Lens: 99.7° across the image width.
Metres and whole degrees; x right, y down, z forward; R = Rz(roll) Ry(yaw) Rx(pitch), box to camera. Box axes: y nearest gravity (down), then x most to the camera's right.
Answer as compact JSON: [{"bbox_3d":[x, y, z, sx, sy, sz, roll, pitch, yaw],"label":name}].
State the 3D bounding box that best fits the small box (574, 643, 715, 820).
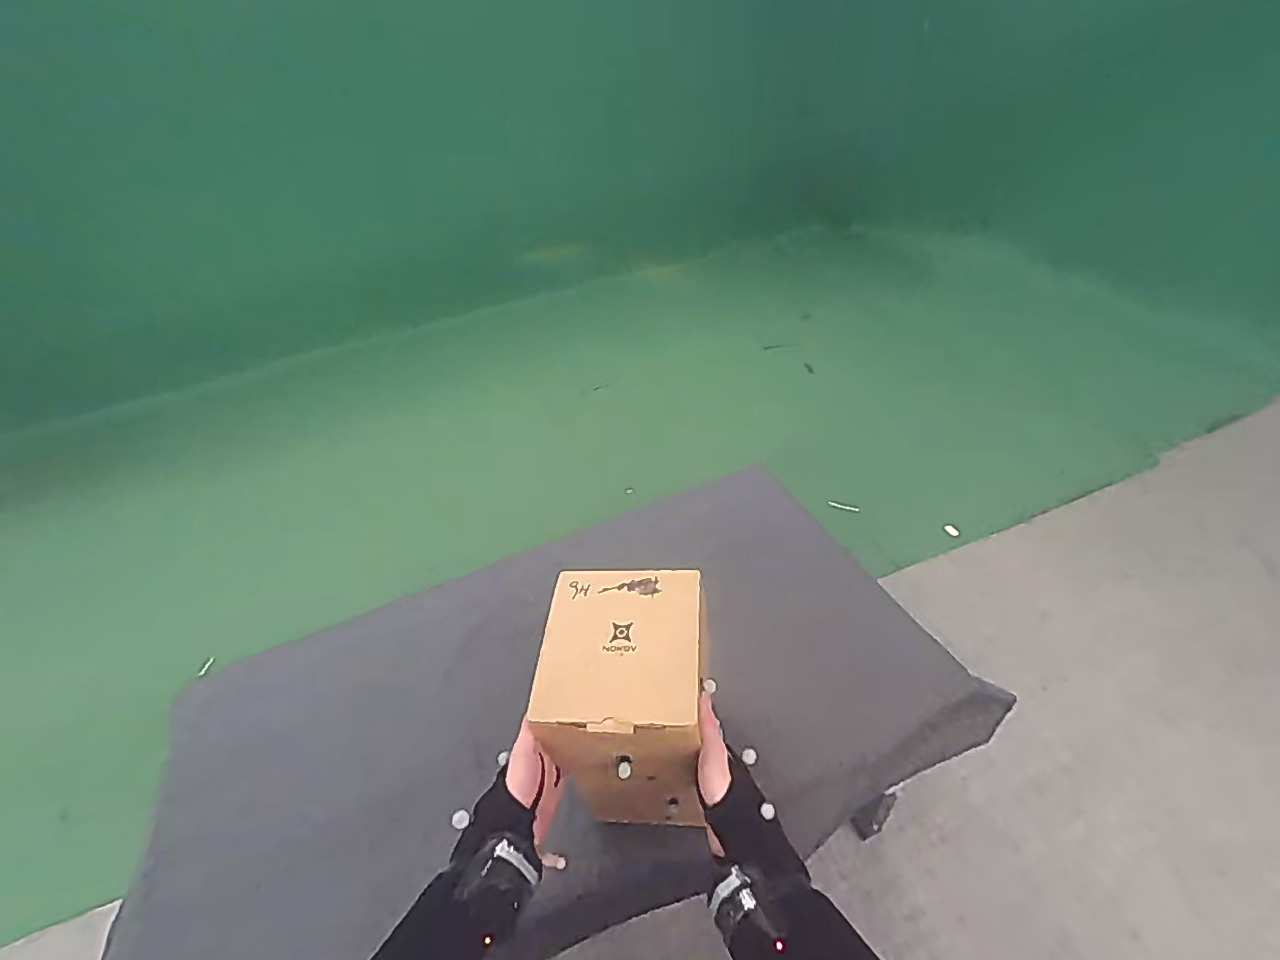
[{"bbox_3d":[0.017,0.348,0.749,0.168,0.176,0.179,-2,40,7],"label":"small box"}]
